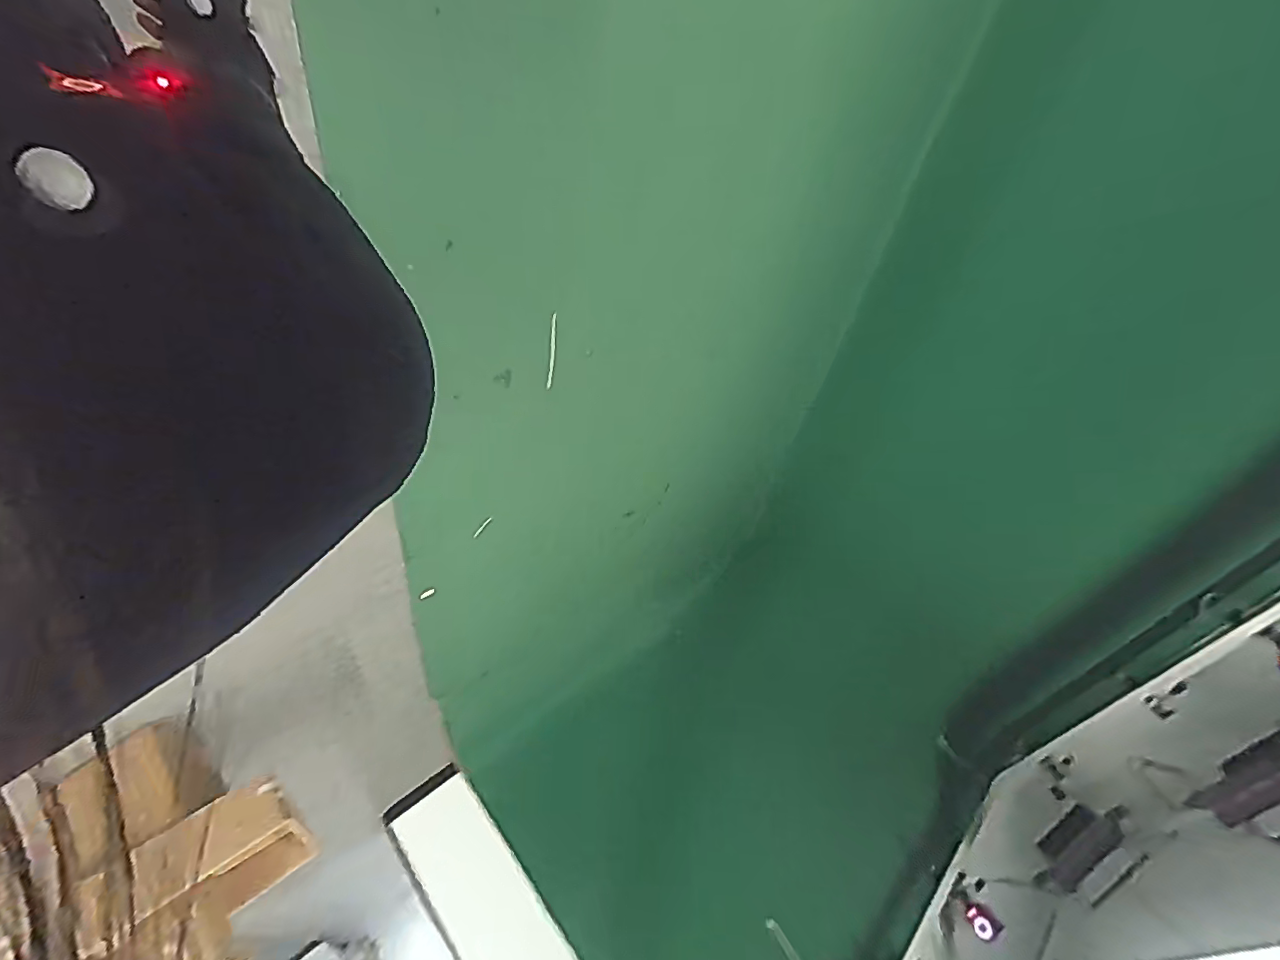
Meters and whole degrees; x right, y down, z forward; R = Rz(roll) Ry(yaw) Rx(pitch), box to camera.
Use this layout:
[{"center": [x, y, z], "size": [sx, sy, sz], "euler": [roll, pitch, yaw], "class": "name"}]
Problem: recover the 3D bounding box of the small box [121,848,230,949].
[{"center": [-1.346, 1.214, 1.570], "size": [0.168, 0.176, 0.179], "euler": [-33, 148, -31], "class": "small box"}]
